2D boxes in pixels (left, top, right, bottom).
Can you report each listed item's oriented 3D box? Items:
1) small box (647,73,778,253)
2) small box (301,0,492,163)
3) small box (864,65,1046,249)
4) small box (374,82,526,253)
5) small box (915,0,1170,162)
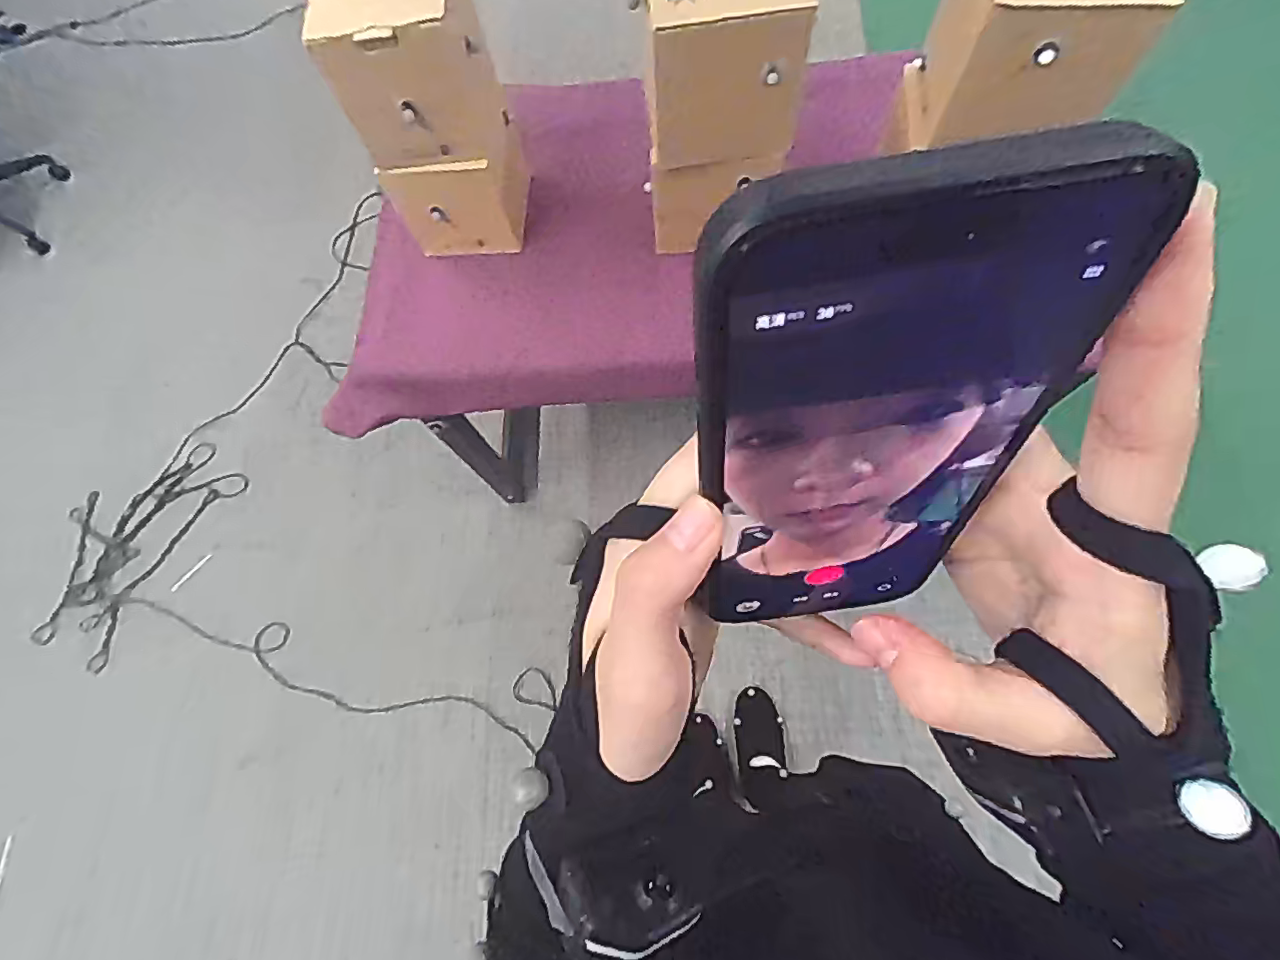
[{"bbox_3d":[0.103,-0.468,0.817,0.179,0.176,0.168,-1,70,5],"label":"small box"},{"bbox_3d":[-0.299,-0.544,0.704,0.168,0.176,0.179,-5,71,2],"label":"small box"},{"bbox_3d":[0.442,-0.460,0.787,0.179,0.176,0.168,5,70,7],"label":"small box"},{"bbox_3d":[-0.286,-0.481,0.855,0.168,0.176,0.179,0,70,5],"label":"small box"},{"bbox_3d":[0.437,-0.501,0.627,0.179,0.176,0.168,5,71,6],"label":"small box"}]
